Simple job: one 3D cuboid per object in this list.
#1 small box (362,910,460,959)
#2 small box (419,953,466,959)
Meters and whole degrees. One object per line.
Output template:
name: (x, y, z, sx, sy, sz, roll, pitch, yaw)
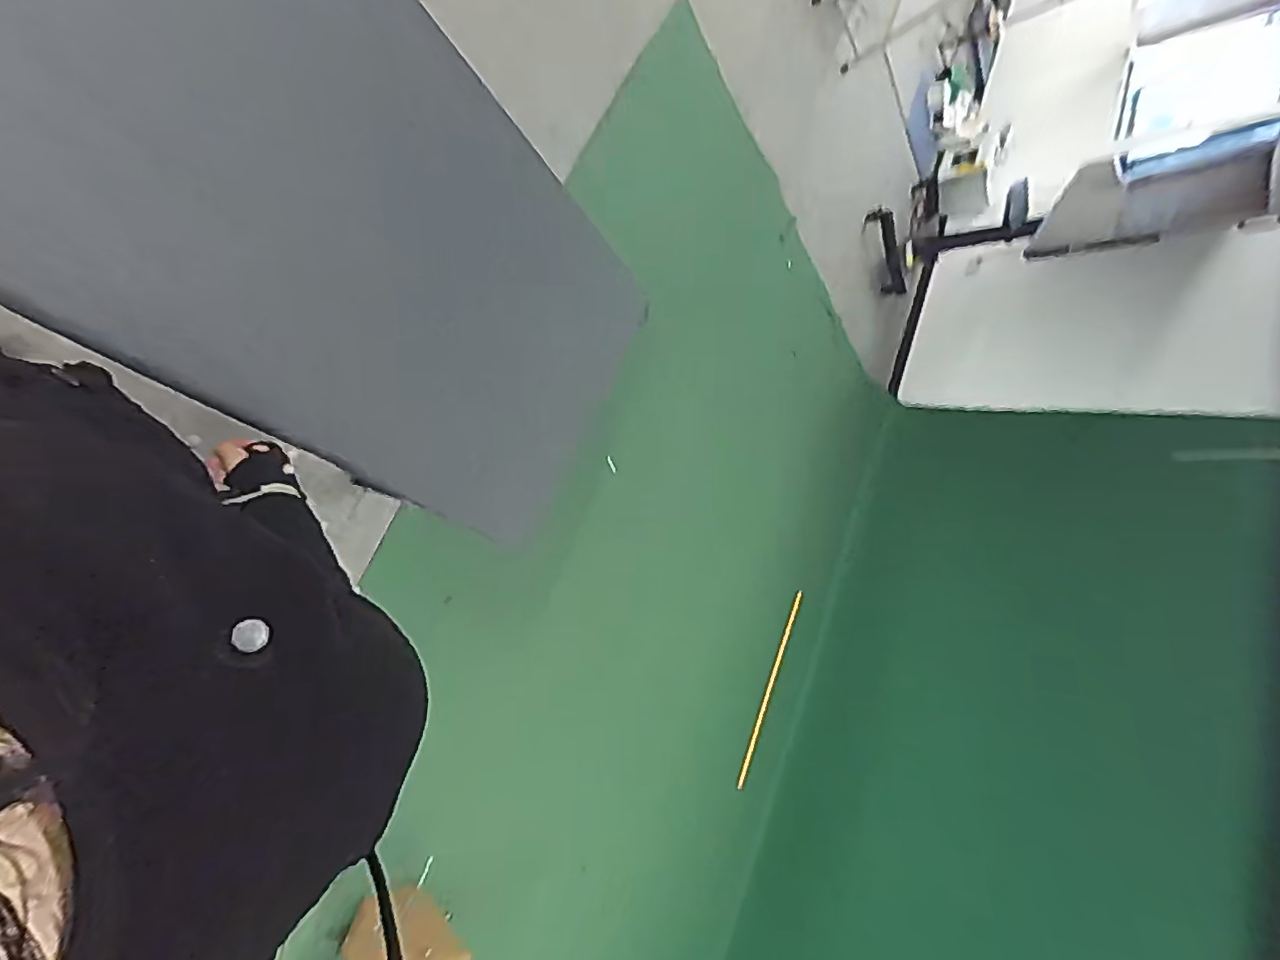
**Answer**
small box: (-0.644, 1.338, 1.499, 0.179, 0.176, 0.168, 37, 71, -45)
small box: (-0.522, 1.368, 1.390, 0.179, 0.176, 0.168, 39, 69, -44)
